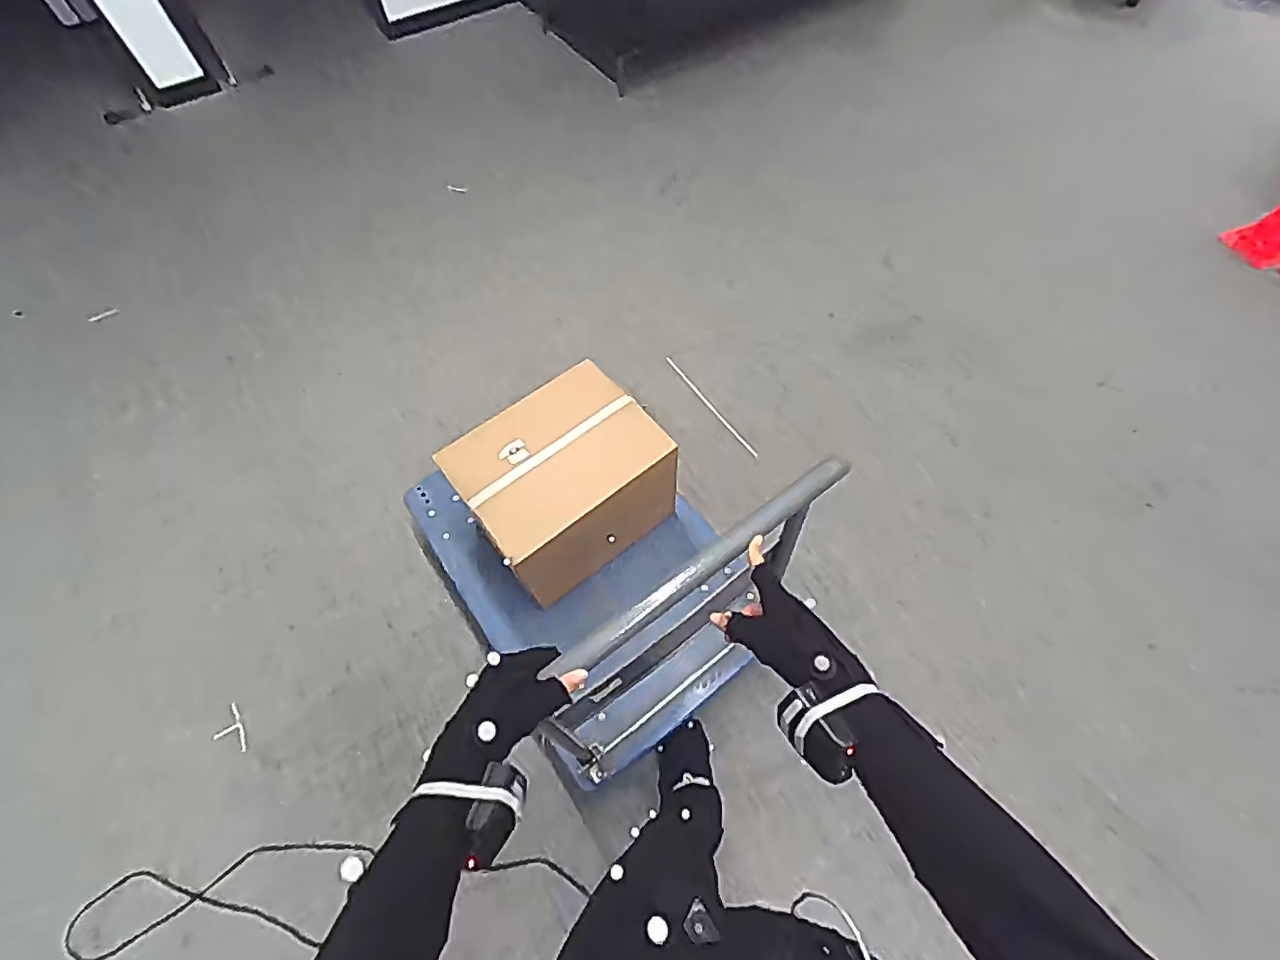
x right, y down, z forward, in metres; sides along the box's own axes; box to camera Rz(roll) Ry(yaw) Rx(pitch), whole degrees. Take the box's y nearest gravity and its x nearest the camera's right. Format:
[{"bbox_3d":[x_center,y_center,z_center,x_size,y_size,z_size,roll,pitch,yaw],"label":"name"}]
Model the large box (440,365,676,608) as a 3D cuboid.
[{"bbox_3d":[-0.163,0.022,1.245,0.408,0.320,0.320,-38,66,-16],"label":"large box"}]
